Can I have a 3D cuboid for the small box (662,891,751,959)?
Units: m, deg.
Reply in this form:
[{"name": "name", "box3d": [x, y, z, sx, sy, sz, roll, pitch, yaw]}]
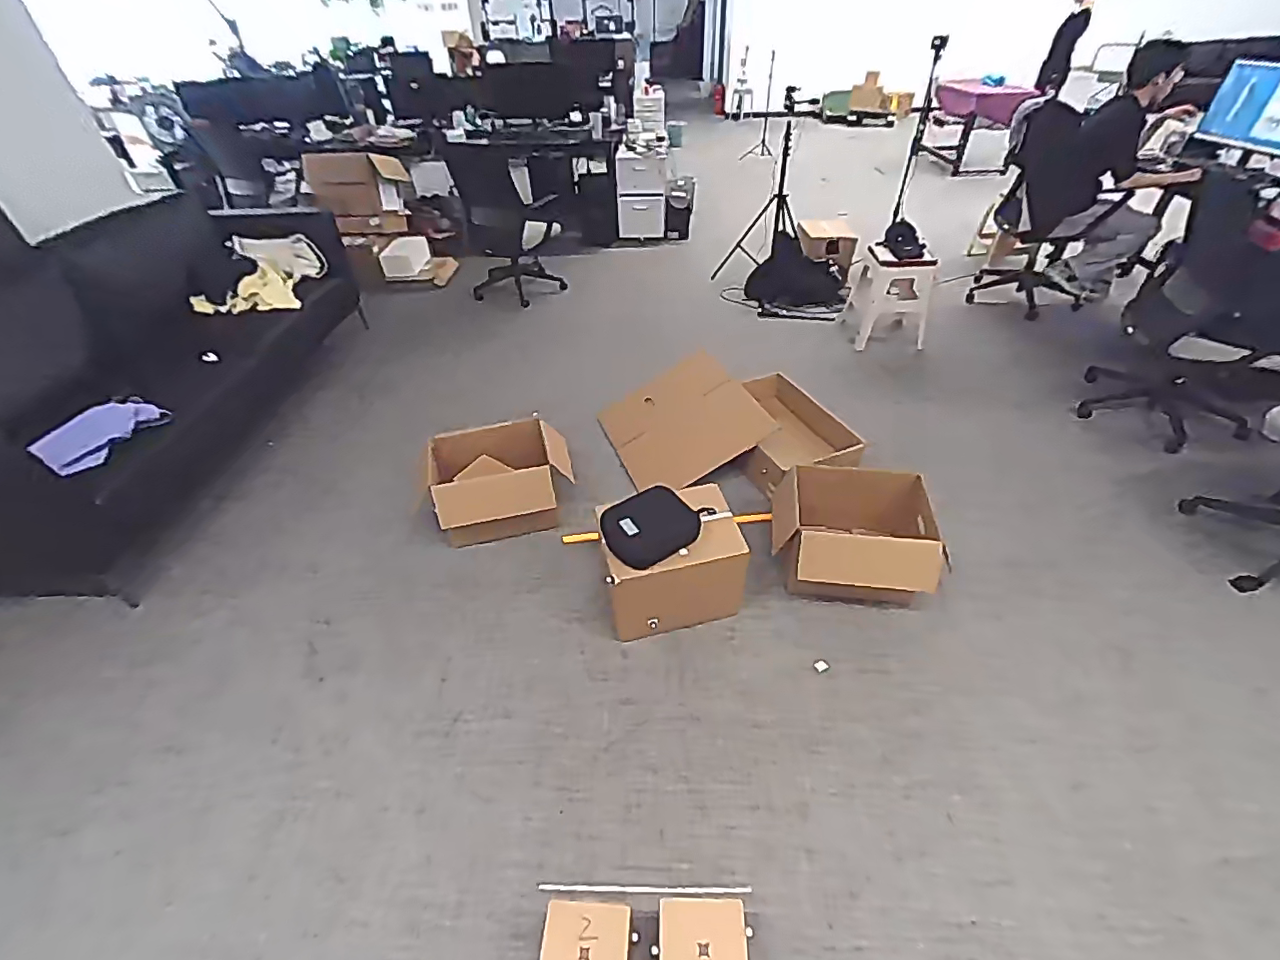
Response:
[{"name": "small box", "box3d": [0.126, 0.934, 1.058, 0.168, 0.176, 0.179, -1, 42, 3]}]
